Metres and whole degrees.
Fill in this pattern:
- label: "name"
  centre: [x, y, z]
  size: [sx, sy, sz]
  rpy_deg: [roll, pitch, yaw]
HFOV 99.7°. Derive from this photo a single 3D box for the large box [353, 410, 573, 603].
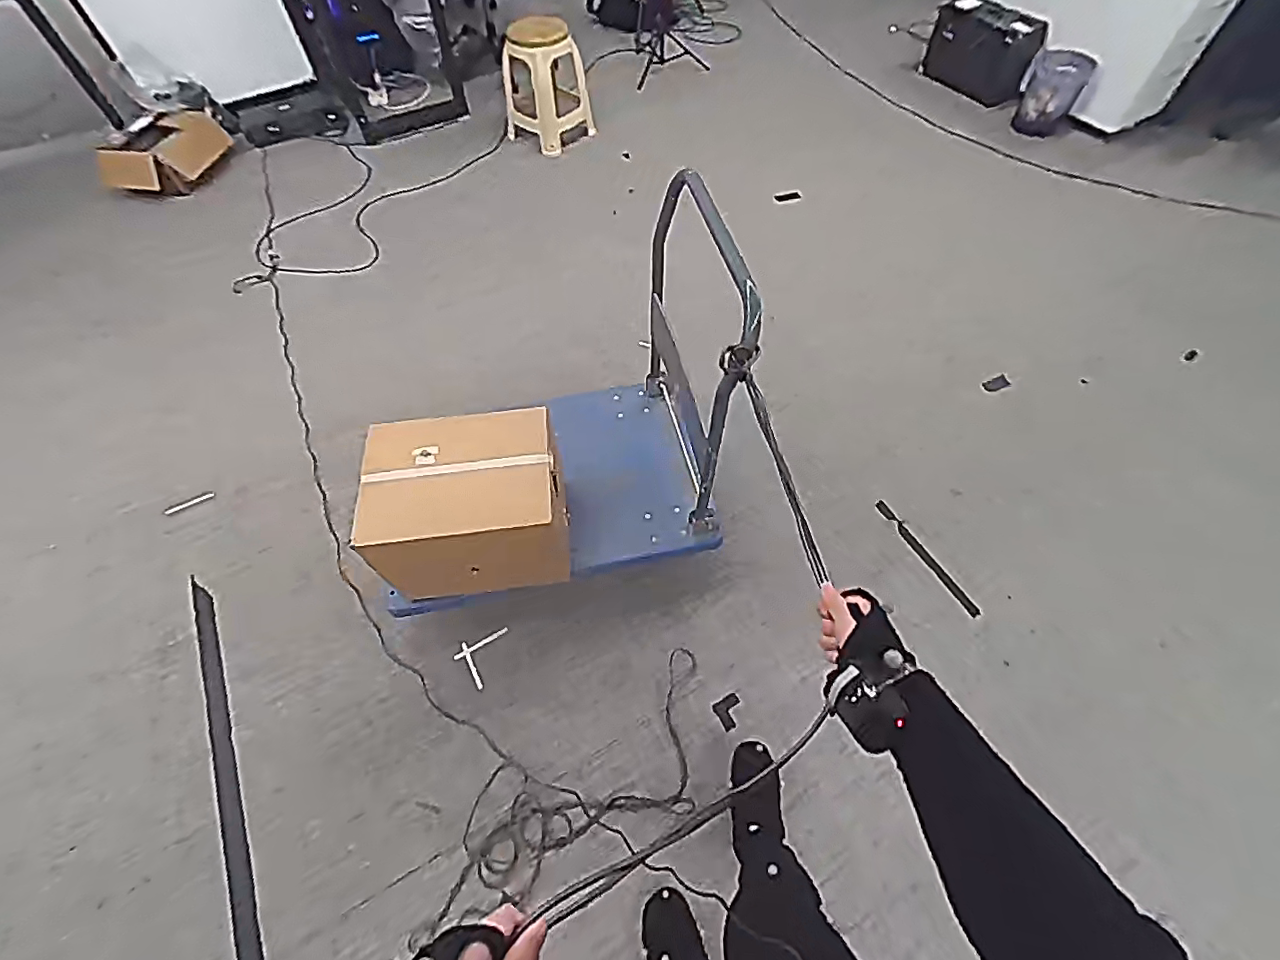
- label: "large box"
  centre: [-0.386, 0.071, 1.278]
  size: [0.408, 0.320, 0.320]
  rpy_deg: [-7, 57, -3]
